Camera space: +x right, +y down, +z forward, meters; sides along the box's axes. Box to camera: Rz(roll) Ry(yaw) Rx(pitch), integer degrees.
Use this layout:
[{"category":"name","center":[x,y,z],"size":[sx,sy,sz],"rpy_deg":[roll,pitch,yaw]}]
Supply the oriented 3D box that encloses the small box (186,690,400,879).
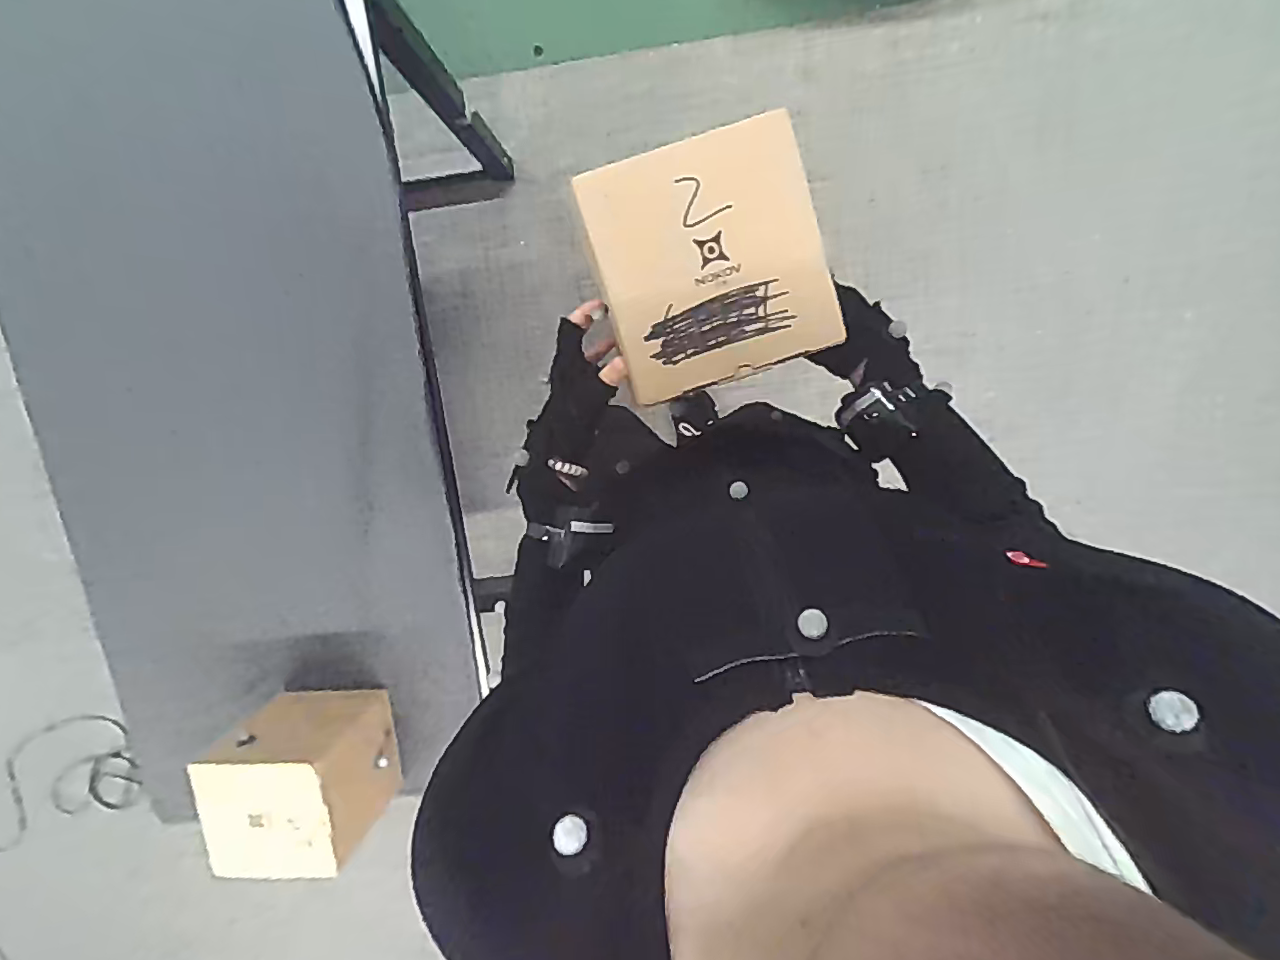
[{"category":"small box","center":[-0.470,0.413,0.757],"size":[0.179,0.176,0.168],"rpy_deg":[-4,99,5]}]
